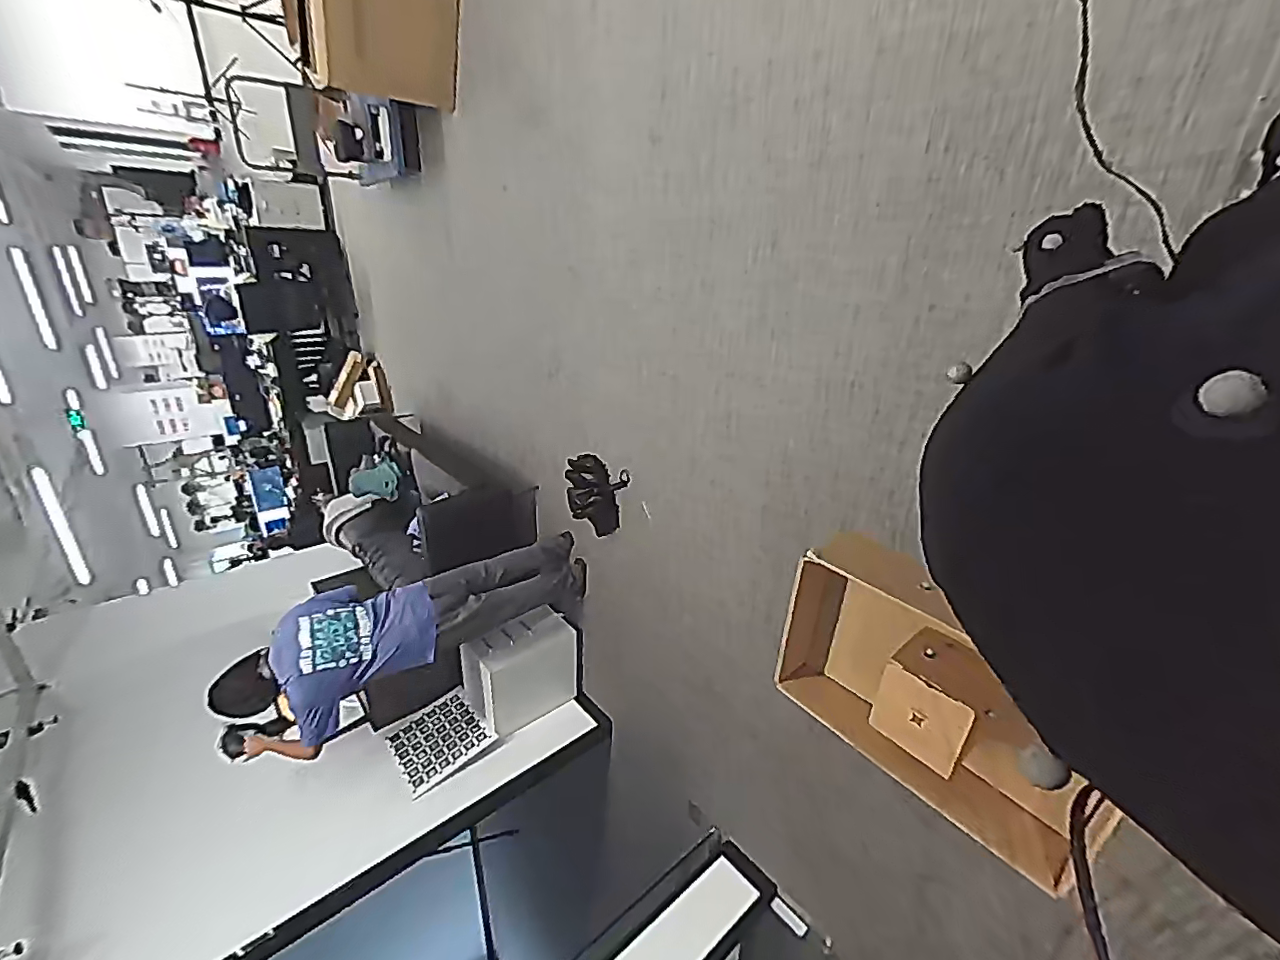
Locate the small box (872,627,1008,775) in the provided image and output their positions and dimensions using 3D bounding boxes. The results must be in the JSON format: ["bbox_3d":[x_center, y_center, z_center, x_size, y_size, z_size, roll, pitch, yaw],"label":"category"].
[{"bbox_3d":[0.595,0.426,1.072,0.168,0.176,0.179,29,127,45],"label":"small box"}]
